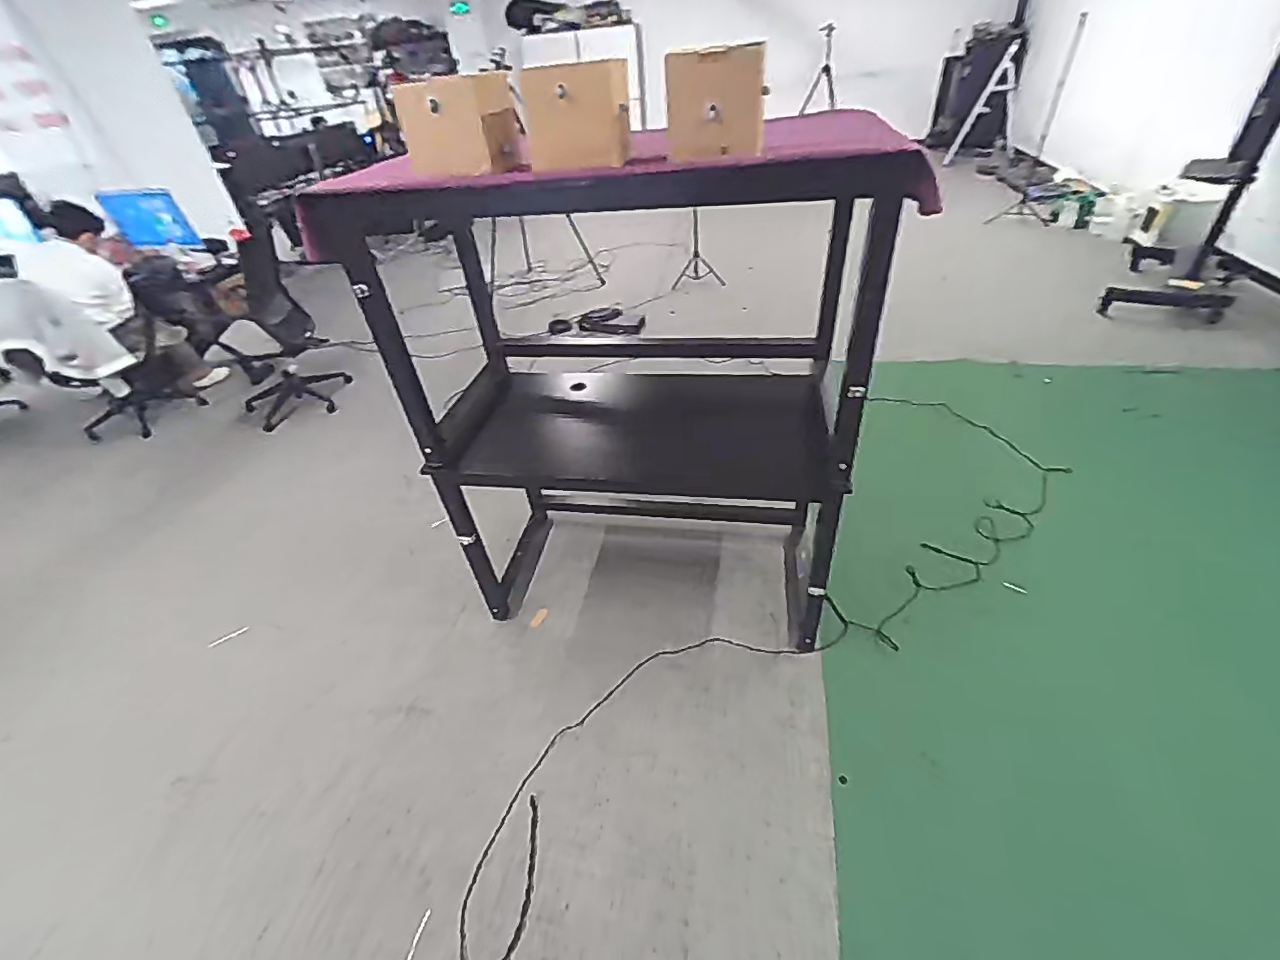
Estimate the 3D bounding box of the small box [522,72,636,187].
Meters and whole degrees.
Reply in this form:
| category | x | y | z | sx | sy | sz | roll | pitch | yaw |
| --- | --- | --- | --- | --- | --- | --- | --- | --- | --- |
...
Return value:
| category | x | y | z | sx | sy | sz | roll | pitch | yaw |
| --- | --- | --- | --- | --- | --- | --- | --- | --- | --- |
| small box | -0.109 | -0.695 | 1.074 | 0.179 | 0.176 | 0.168 | 2 | 37 | 11 |

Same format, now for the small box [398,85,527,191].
| category | x | y | z | sx | sy | sz | roll | pitch | yaw |
| --- | --- | --- | --- | --- | --- | --- | --- | --- | --- |
| small box | -0.357 | -0.709 | 1.124 | 0.179 | 0.176 | 0.168 | 5 | 39 | 12 |
